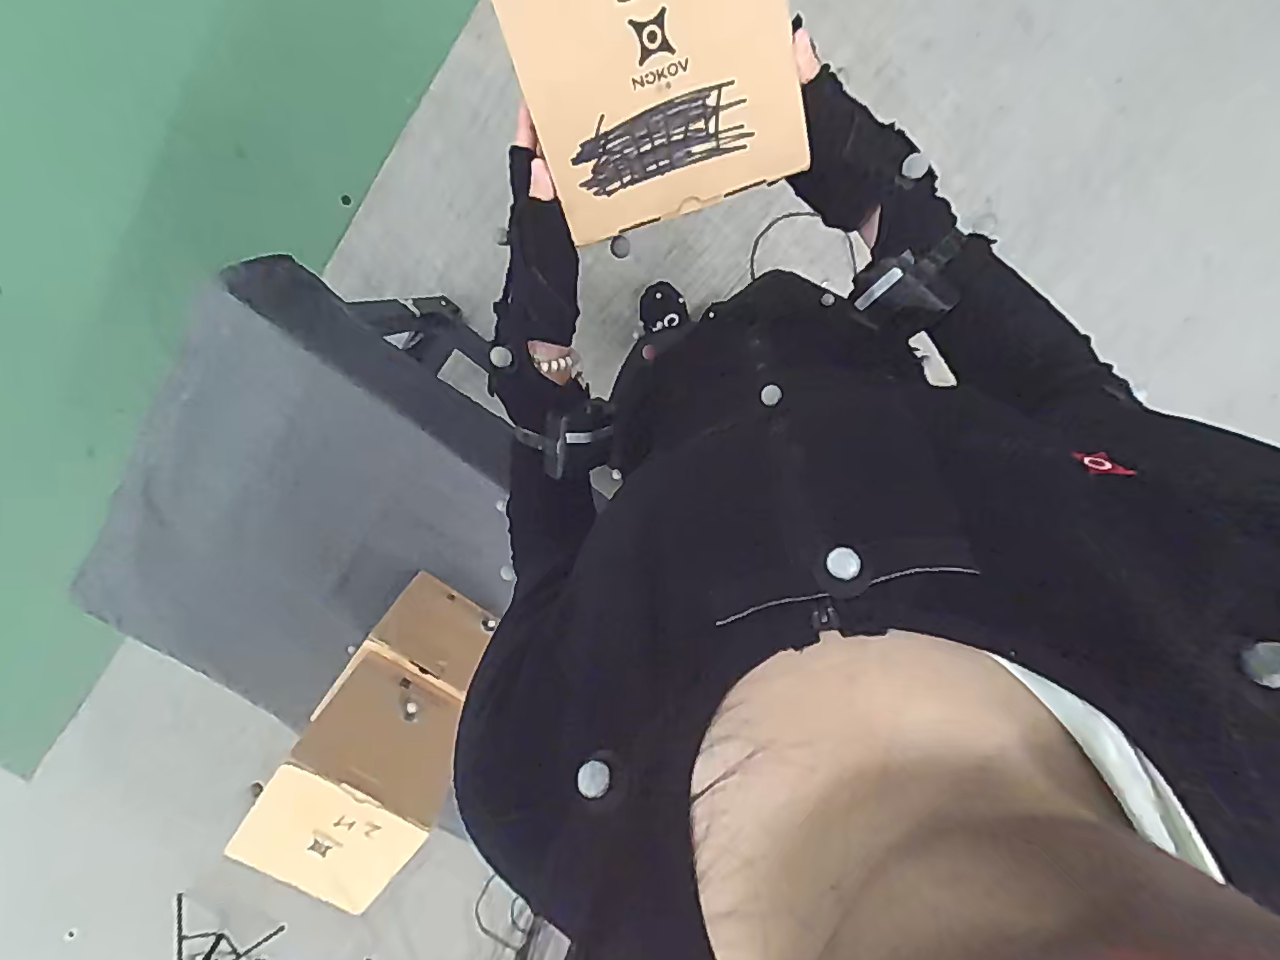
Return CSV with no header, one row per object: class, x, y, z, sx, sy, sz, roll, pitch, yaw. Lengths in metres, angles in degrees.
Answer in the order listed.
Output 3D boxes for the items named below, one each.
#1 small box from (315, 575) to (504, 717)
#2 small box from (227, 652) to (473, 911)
small box,-0.320,0.272,0.790,0.168,0.176,0.179,37,109,-10
small box,-0.326,0.348,0.644,0.168,0.176,0.179,35,107,-11
